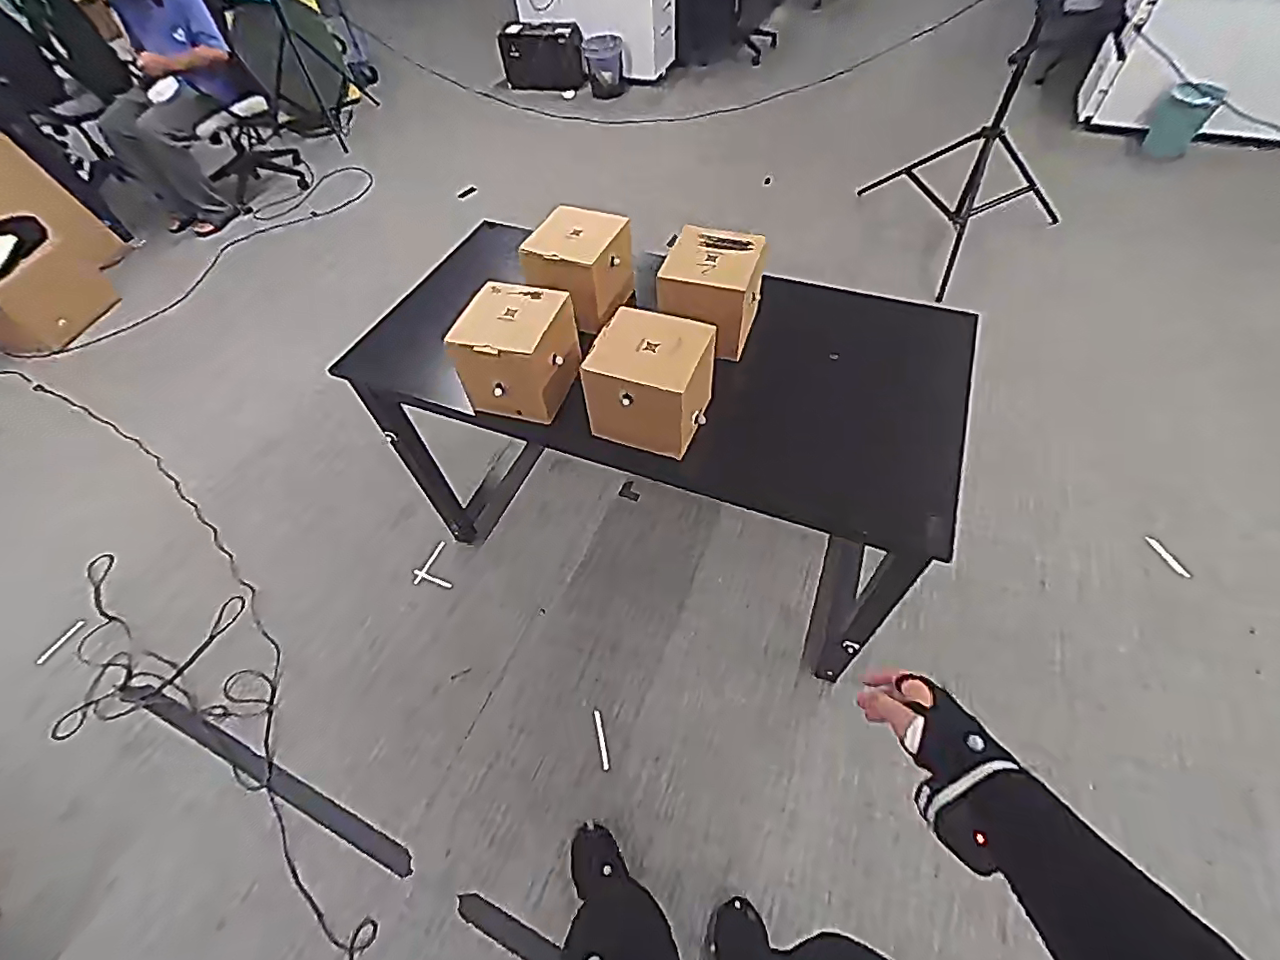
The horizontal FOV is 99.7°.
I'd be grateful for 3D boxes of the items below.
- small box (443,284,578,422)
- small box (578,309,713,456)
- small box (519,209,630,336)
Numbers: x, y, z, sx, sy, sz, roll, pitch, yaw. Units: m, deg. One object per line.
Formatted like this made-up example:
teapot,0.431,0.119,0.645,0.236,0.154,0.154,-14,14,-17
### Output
small box,-0.225,-0.231,1.000,0.168,0.176,0.179,12,56,13
small box,0.015,-0.165,0.936,0.179,0.176,0.168,17,58,15
small box,-0.128,-0.438,1.145,0.168,0.176,0.179,18,58,17
